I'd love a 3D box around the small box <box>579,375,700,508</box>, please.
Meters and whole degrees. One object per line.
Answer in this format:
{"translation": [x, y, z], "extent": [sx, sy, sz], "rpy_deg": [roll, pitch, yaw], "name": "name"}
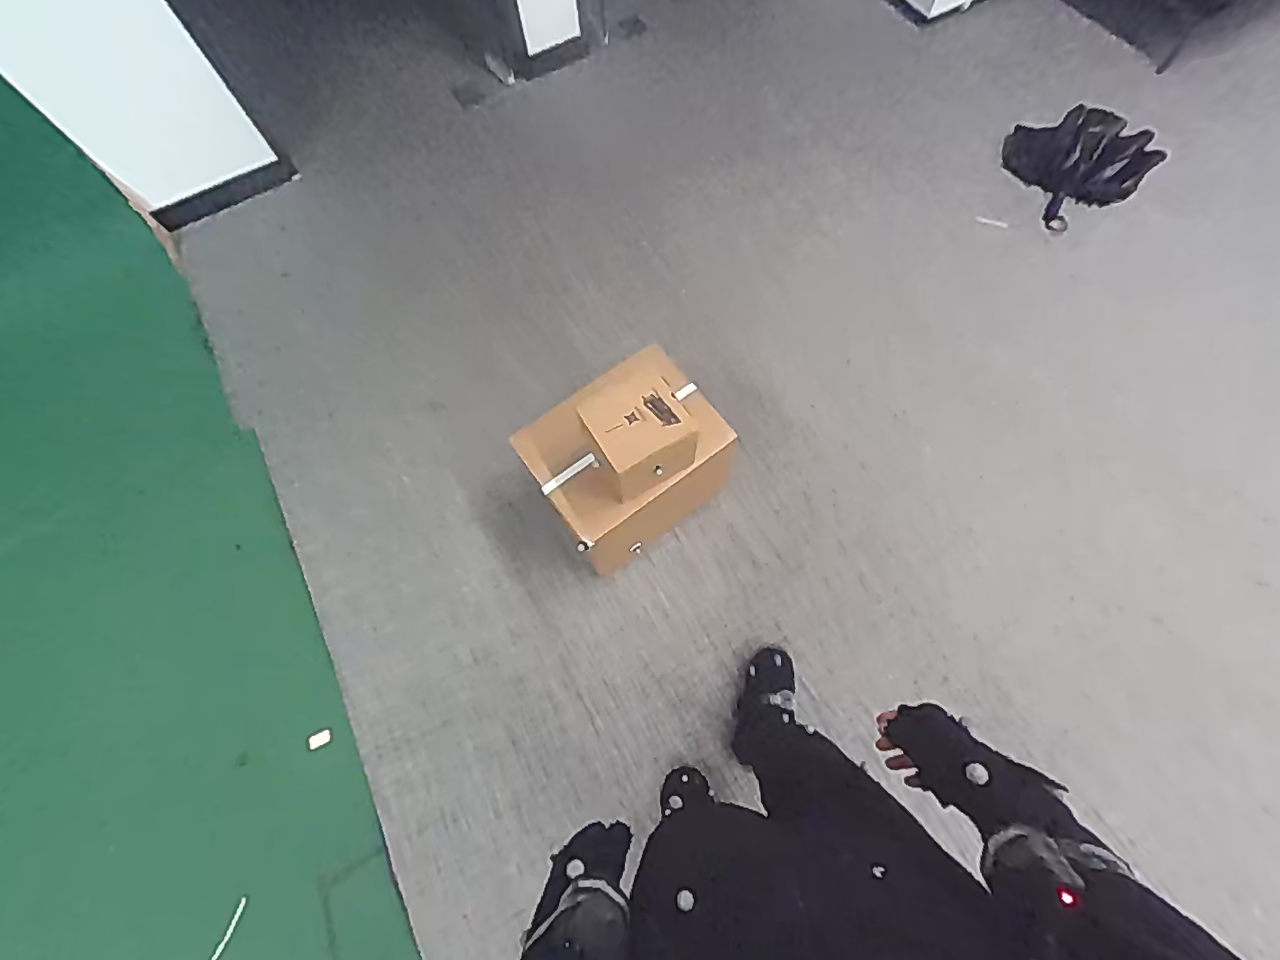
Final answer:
{"translation": [0.000, -0.071, 1.083], "extent": [0.179, 0.176, 0.168], "rpy_deg": [-30, 70, -9], "name": "small box"}
